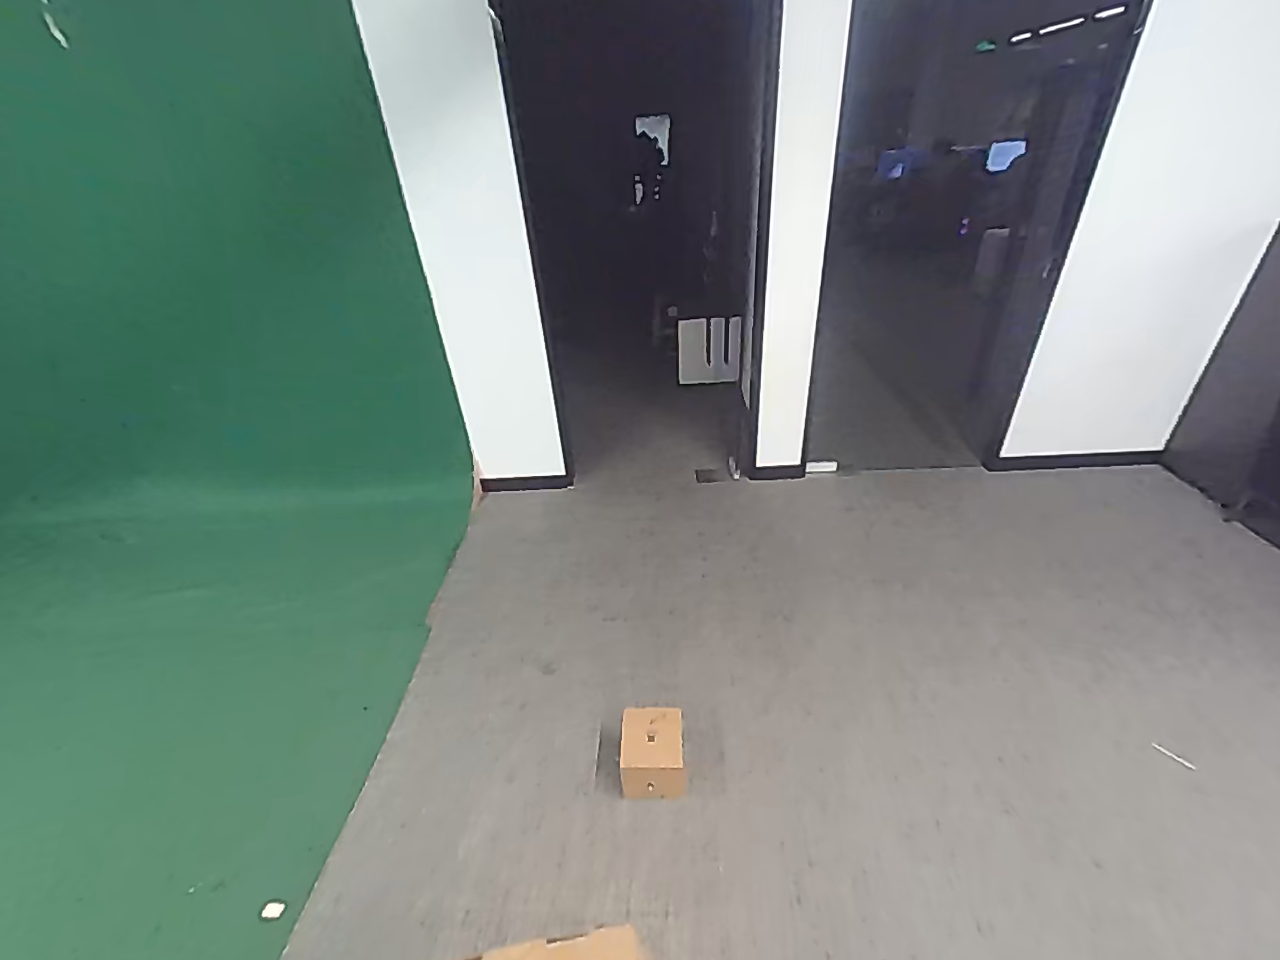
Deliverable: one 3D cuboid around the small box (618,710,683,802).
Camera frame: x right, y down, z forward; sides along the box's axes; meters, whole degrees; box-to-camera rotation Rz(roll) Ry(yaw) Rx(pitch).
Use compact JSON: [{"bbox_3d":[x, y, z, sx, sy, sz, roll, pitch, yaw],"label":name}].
[{"bbox_3d":[0.034,0.769,1.504,0.168,0.176,0.179,-1,33,4],"label":"small box"}]
